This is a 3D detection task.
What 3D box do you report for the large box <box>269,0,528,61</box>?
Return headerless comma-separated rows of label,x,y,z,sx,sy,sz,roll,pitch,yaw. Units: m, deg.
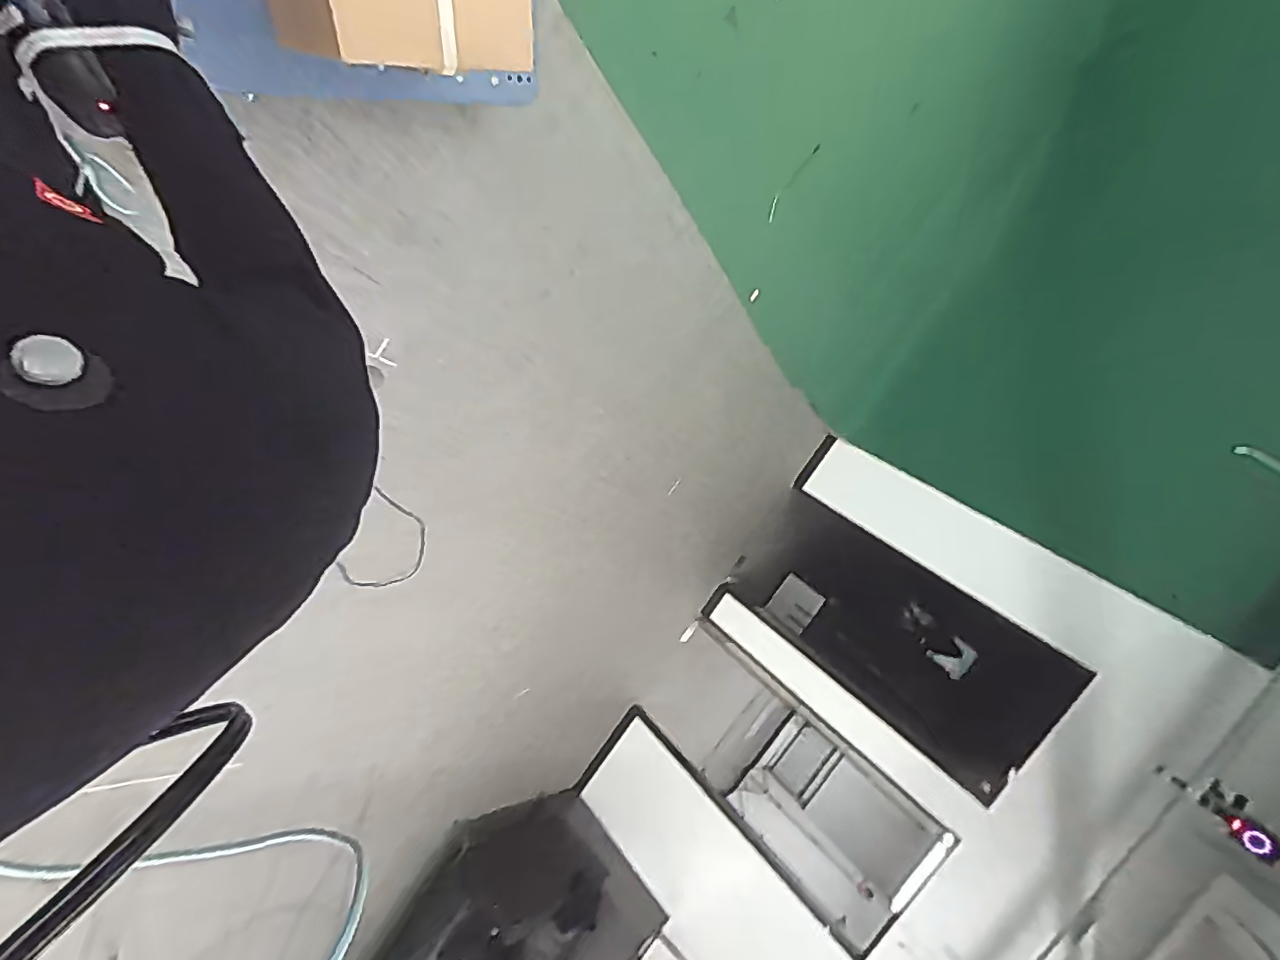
large box,-0.391,-0.878,0.793,0.320,0.320,0.408,-27,139,-34
